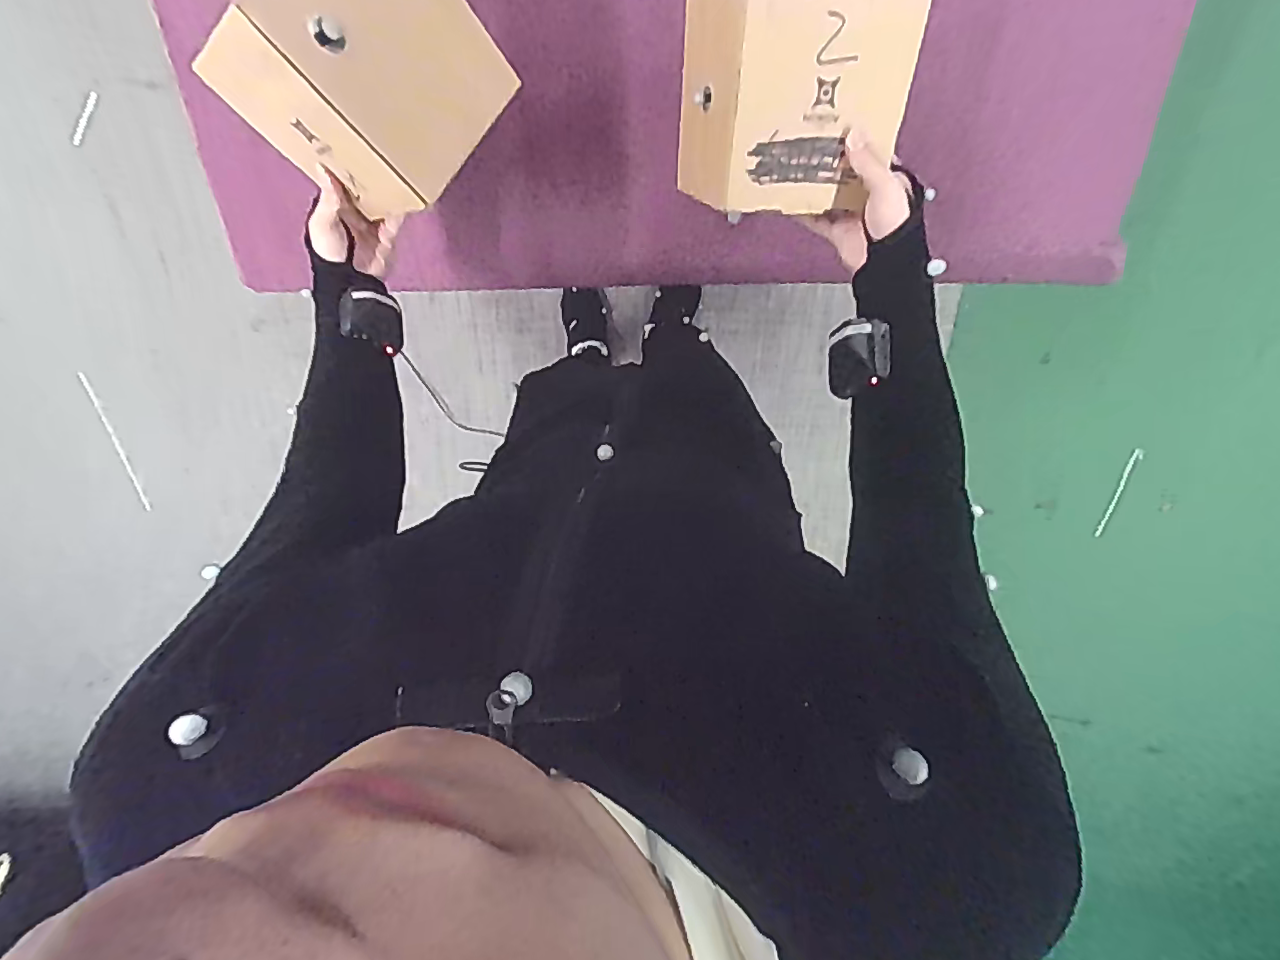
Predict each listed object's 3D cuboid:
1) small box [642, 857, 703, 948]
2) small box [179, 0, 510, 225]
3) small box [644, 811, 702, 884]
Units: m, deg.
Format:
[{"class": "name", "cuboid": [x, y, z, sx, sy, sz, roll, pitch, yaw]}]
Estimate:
[{"class": "small box", "cuboid": [0.103, 1.367, 1.753, 0.168, 0.176, 0.179, 9, 117, -3]}, {"class": "small box", "cuboid": [-0.258, -0.370, 0.495, 0.179, 0.168, 0.176, 42, 72, -47]}, {"class": "small box", "cuboid": [0.111, 1.297, 1.902, 0.179, 0.176, 0.168, 8, 117, -3]}]
